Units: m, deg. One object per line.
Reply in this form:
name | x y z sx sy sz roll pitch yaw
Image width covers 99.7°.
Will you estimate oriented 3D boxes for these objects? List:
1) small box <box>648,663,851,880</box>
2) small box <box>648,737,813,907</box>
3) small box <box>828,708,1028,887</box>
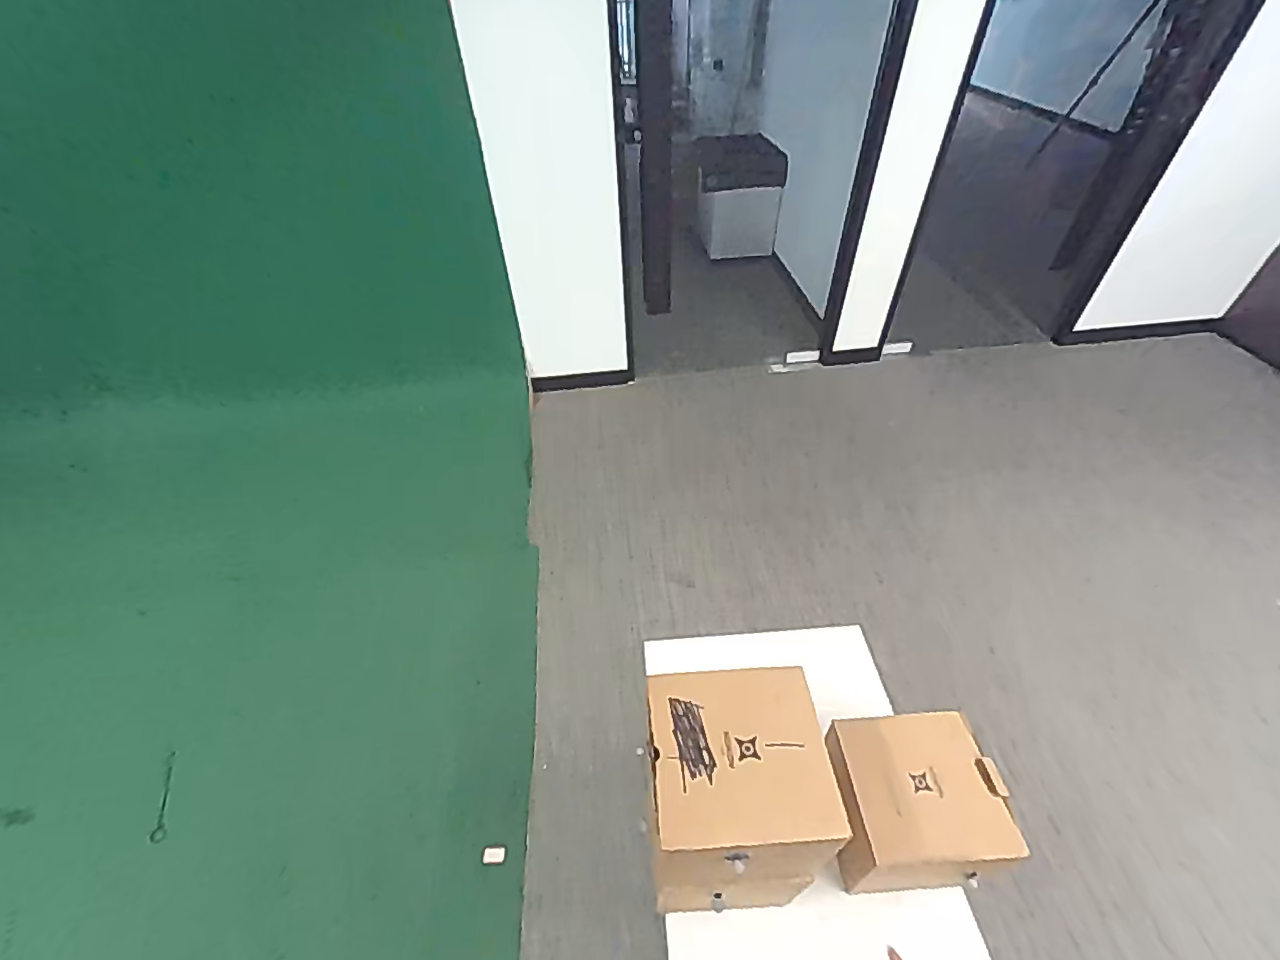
small box | 0.101 0.320 0.591 0.179 0.176 0.168 -2 45 -3
small box | 0.105 0.439 0.705 0.179 0.176 0.168 -4 46 -1
small box | 0.350 0.421 0.715 0.179 0.176 0.168 -5 44 1
